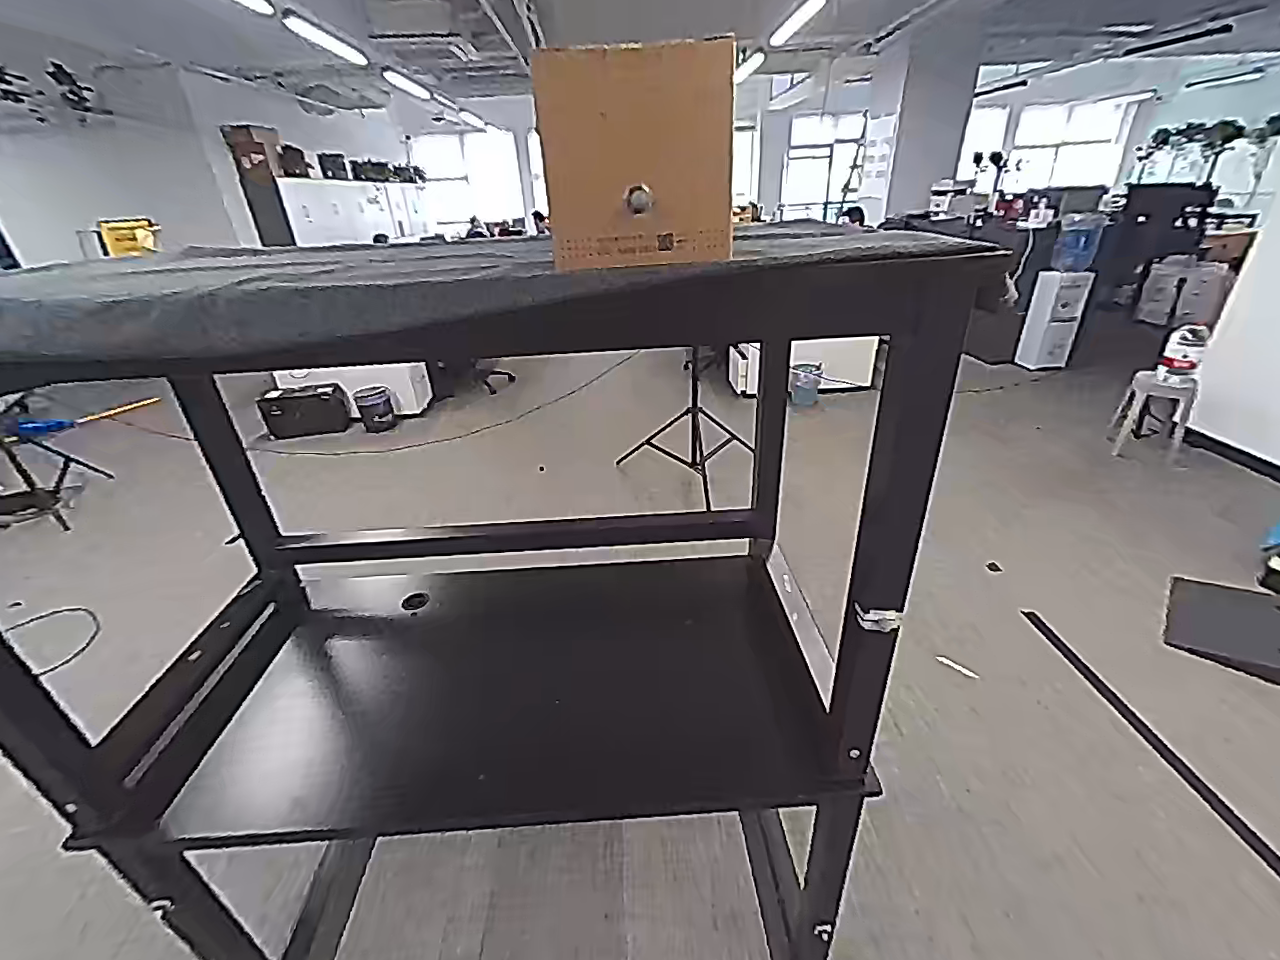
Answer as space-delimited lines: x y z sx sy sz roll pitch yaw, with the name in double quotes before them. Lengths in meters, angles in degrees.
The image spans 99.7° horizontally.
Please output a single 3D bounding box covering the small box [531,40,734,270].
"small box" -0.003 -0.308 0.540 0.168 0.176 0.179 -4 27 1
